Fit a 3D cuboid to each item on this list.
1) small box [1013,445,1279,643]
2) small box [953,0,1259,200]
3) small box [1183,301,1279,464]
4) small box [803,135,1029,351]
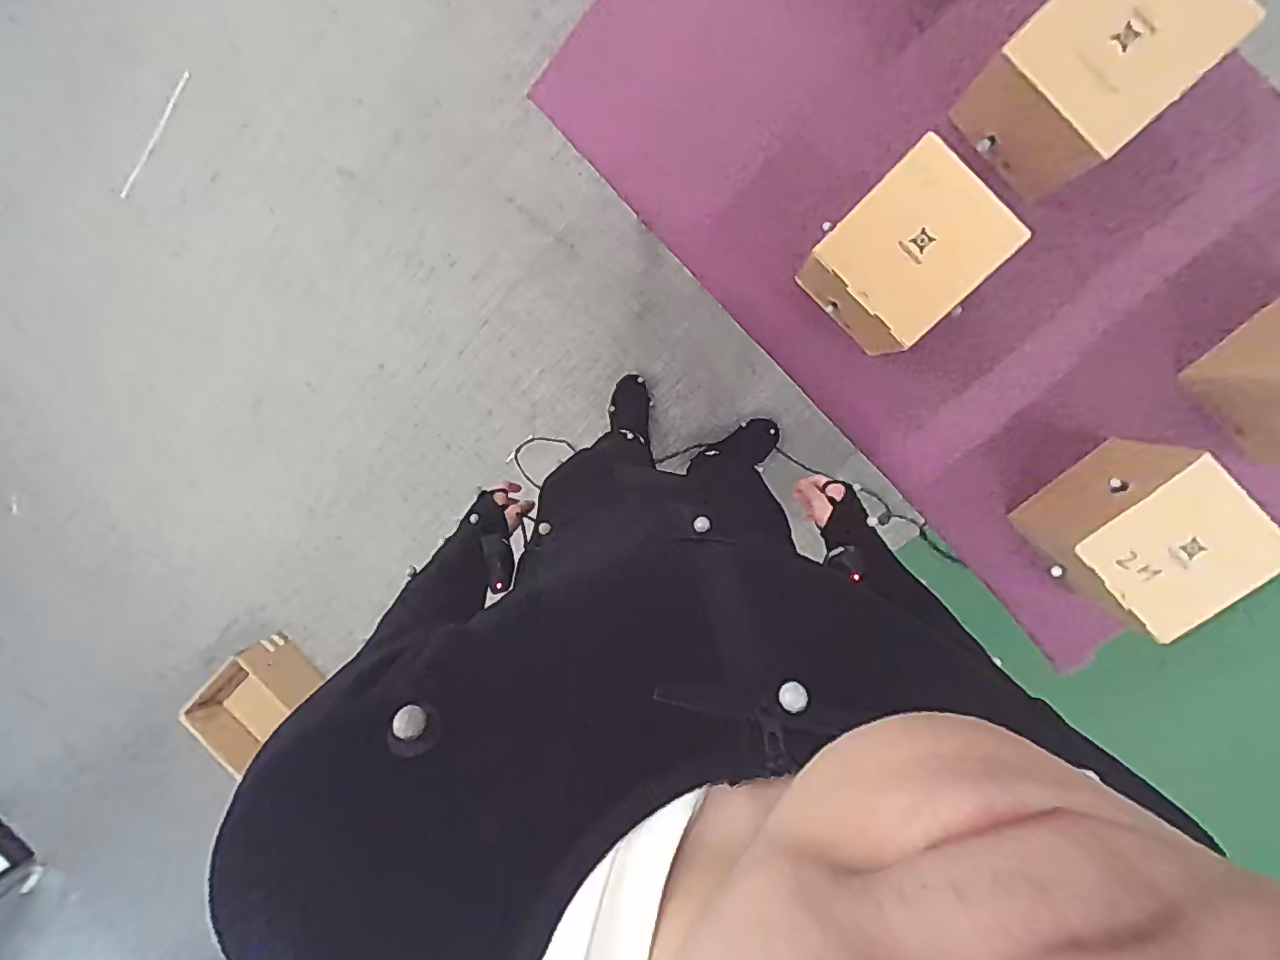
[{"bbox_3d":[0.650,0.070,0.710,0.179,0.176,0.168,-42,90,14],"label":"small box"},{"bbox_3d":[0.515,-0.473,0.633,0.179,0.176,0.168,-43,90,16],"label":"small box"},{"bbox_3d":[0.835,-0.125,0.642,0.168,0.176,0.179,45,105,0],"label":"small box"},{"bbox_3d":[0.335,-0.287,0.702,0.168,0.176,0.179,45,105,-1],"label":"small box"}]
